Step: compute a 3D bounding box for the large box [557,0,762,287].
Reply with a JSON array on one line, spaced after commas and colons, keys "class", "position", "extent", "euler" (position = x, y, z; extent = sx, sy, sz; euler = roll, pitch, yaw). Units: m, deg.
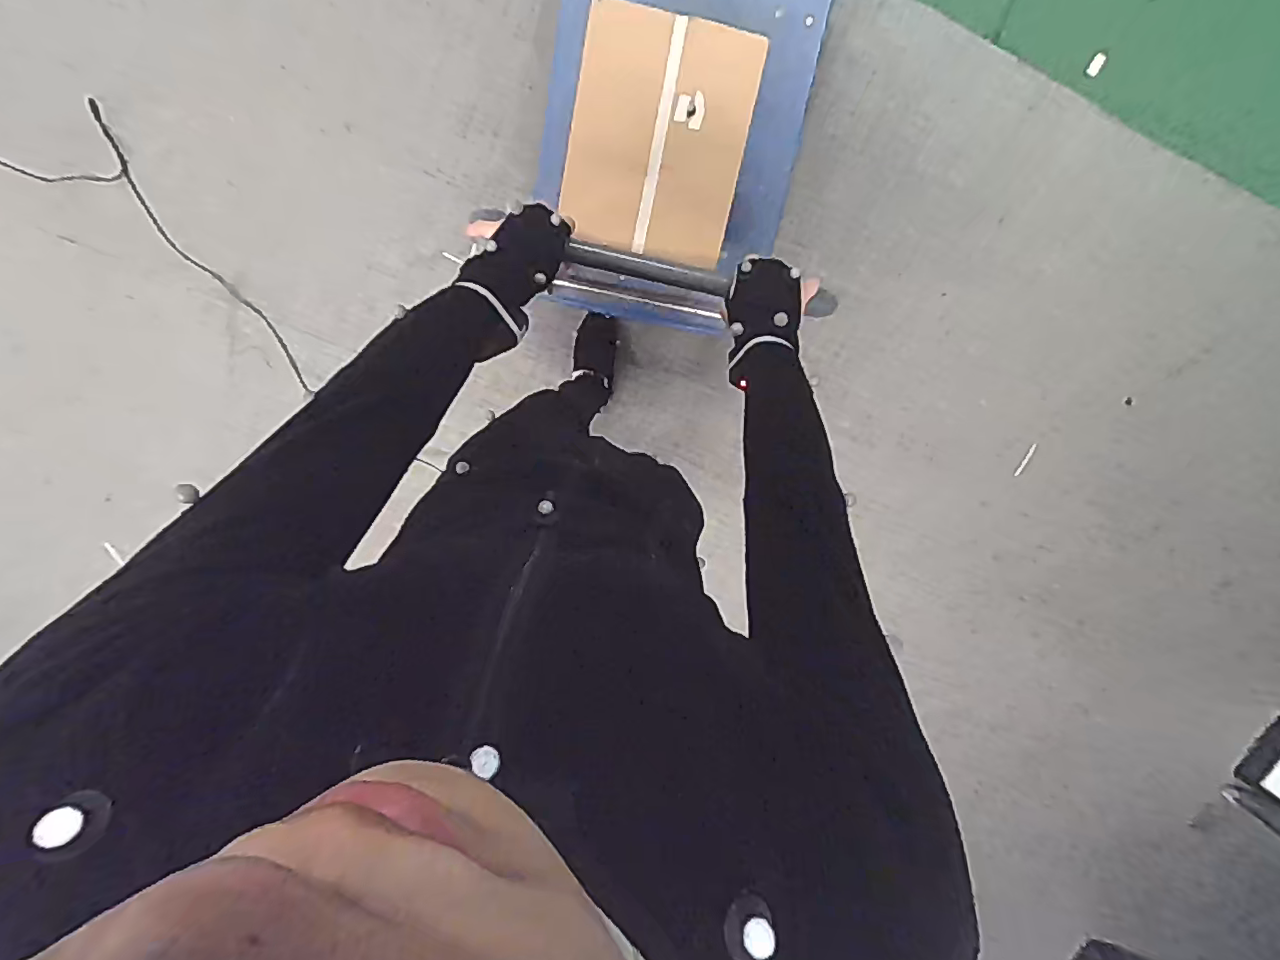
[{"class": "large box", "position": [0.026, -0.650, 1.127], "extent": [0.320, 0.320, 0.408], "euler": [11, 104, -5]}]
